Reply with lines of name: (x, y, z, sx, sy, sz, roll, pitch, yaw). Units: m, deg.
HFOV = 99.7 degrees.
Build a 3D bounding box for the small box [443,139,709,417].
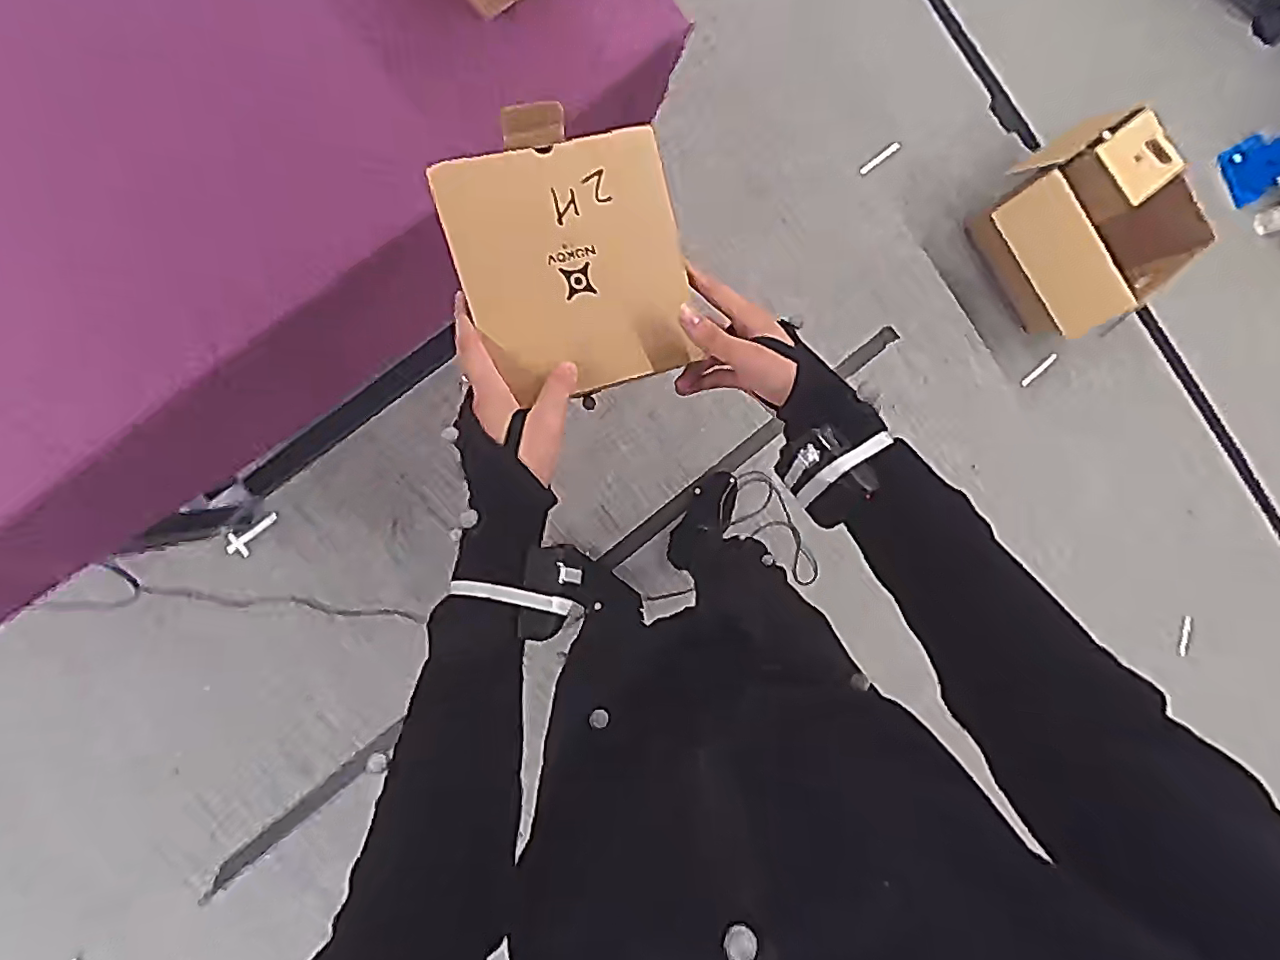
small box: (-0.058, -0.160, 0.480, 0.168, 0.176, 0.179, -17, 99, -11)
